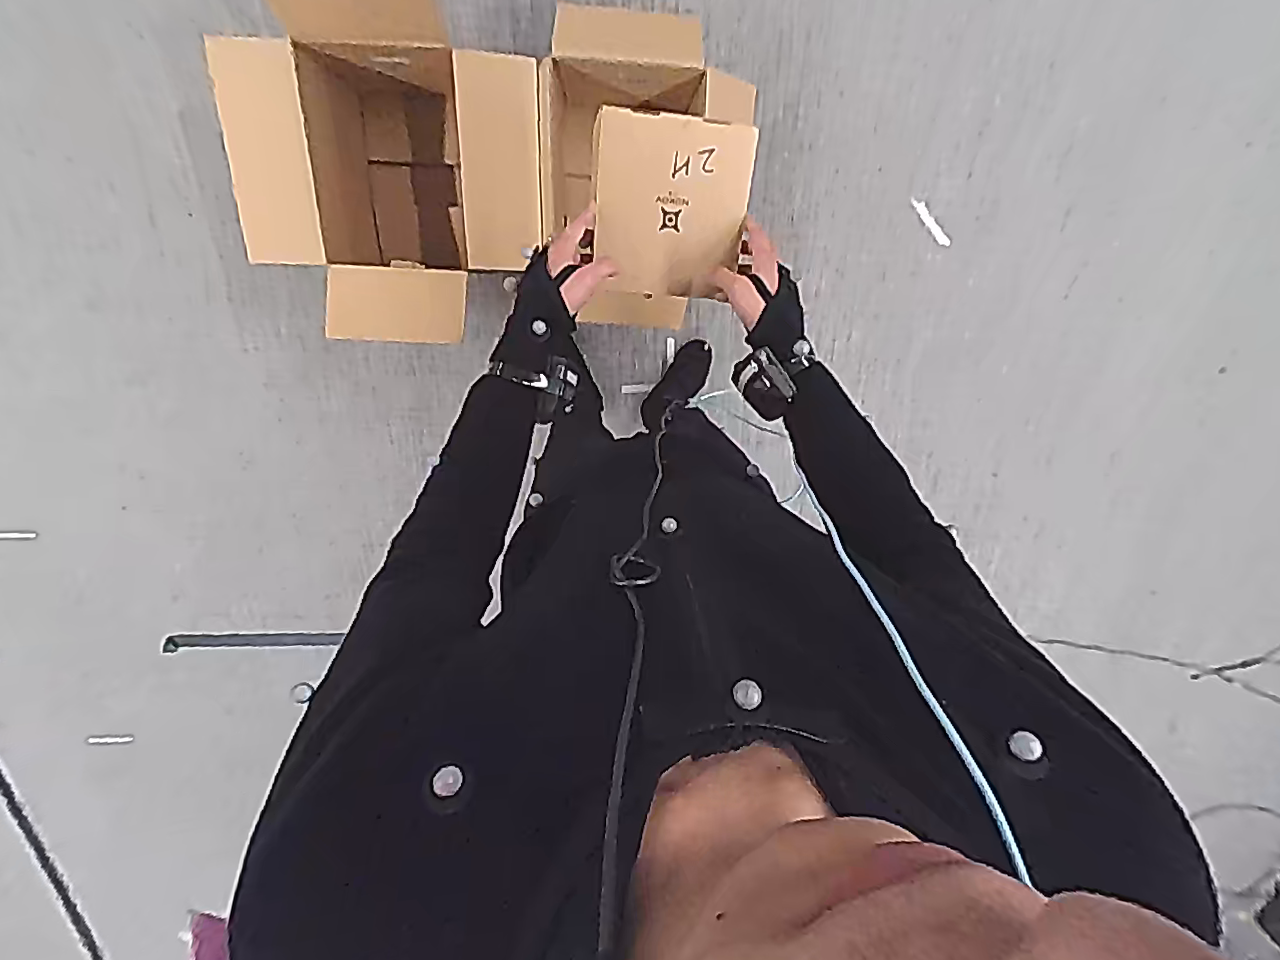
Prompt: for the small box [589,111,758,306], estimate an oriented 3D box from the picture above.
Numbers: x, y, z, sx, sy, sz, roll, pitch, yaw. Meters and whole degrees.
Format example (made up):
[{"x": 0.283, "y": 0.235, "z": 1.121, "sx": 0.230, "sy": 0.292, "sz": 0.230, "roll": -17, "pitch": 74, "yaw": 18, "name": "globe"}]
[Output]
[{"x": 0.025, "y": -0.319, "z": 0.654, "sx": 0.168, "sy": 0.176, "sz": 0.179, "roll": 2, "pitch": 115, "yaw": -8, "name": "small box"}]
